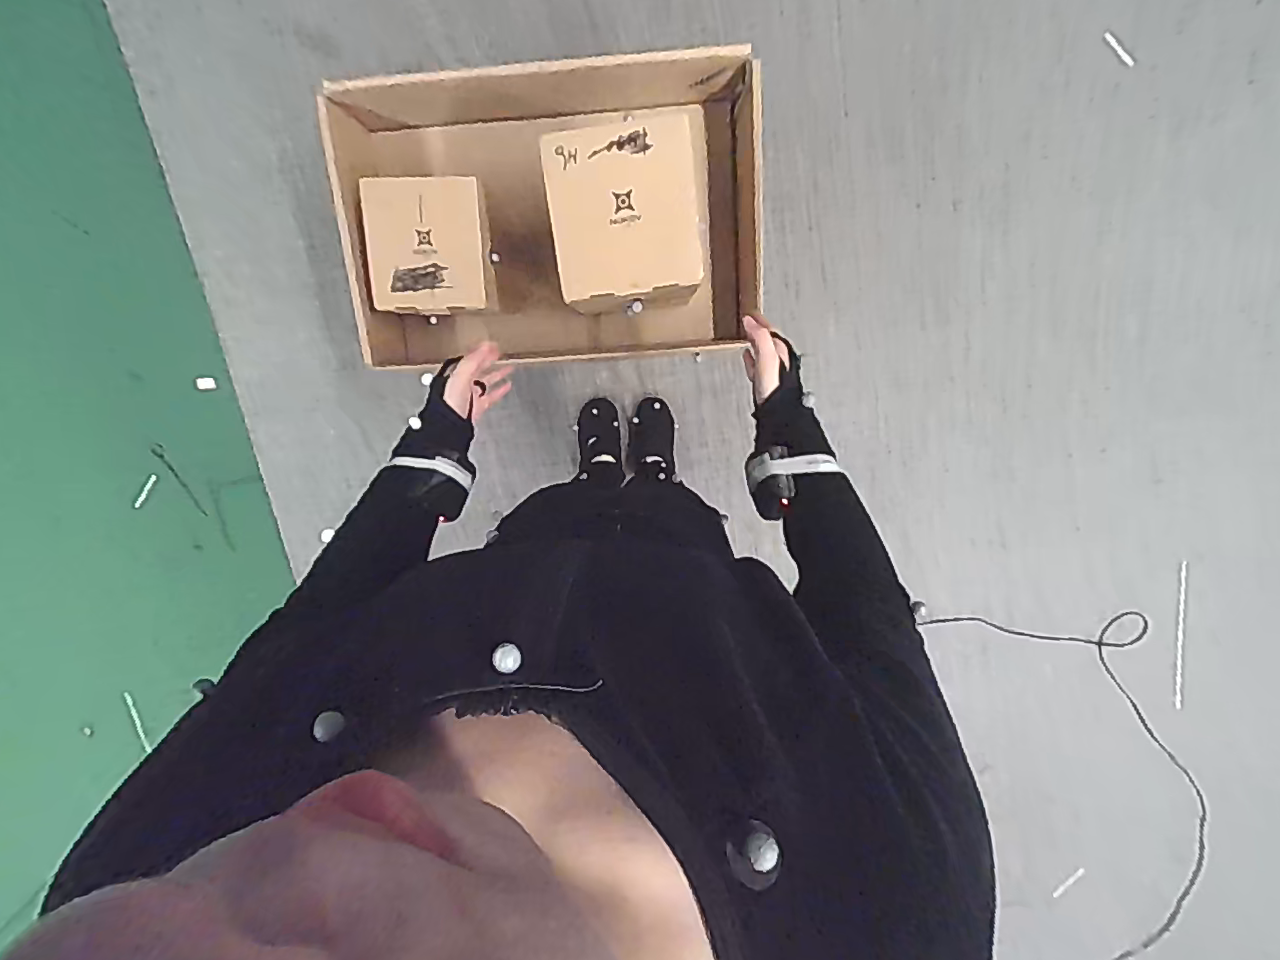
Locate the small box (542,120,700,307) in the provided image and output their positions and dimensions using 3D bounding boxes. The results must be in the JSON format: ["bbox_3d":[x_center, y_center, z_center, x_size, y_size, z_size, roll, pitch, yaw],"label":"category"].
[{"bbox_3d":[-0.016,-0.316,0.680,0.168,0.176,0.179,-6,104,2],"label":"small box"}]
